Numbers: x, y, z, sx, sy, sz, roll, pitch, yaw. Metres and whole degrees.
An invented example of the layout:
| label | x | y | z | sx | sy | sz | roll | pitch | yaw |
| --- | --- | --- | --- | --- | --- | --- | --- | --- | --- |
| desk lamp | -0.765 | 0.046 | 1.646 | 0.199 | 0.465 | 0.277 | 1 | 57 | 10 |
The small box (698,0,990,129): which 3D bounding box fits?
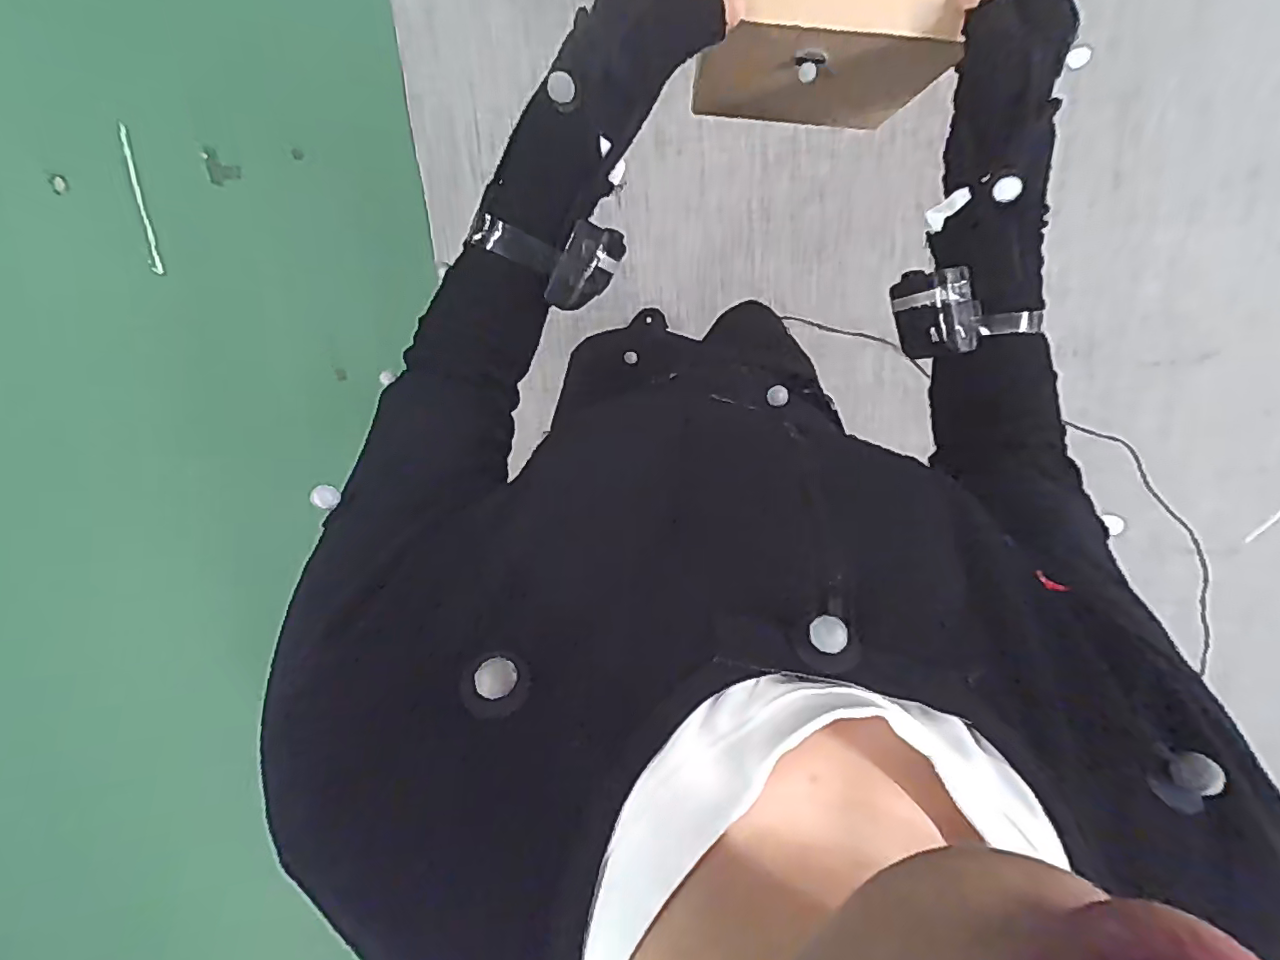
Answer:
| label | x | y | z | sx | sy | sz | roll | pitch | yaw |
| --- | --- | --- | --- | --- | --- | --- | --- | --- | --- |
| small box | 0.141 | -0.386 | 0.405 | 0.179 | 0.176 | 0.168 | 4 | 106 | -1 |
